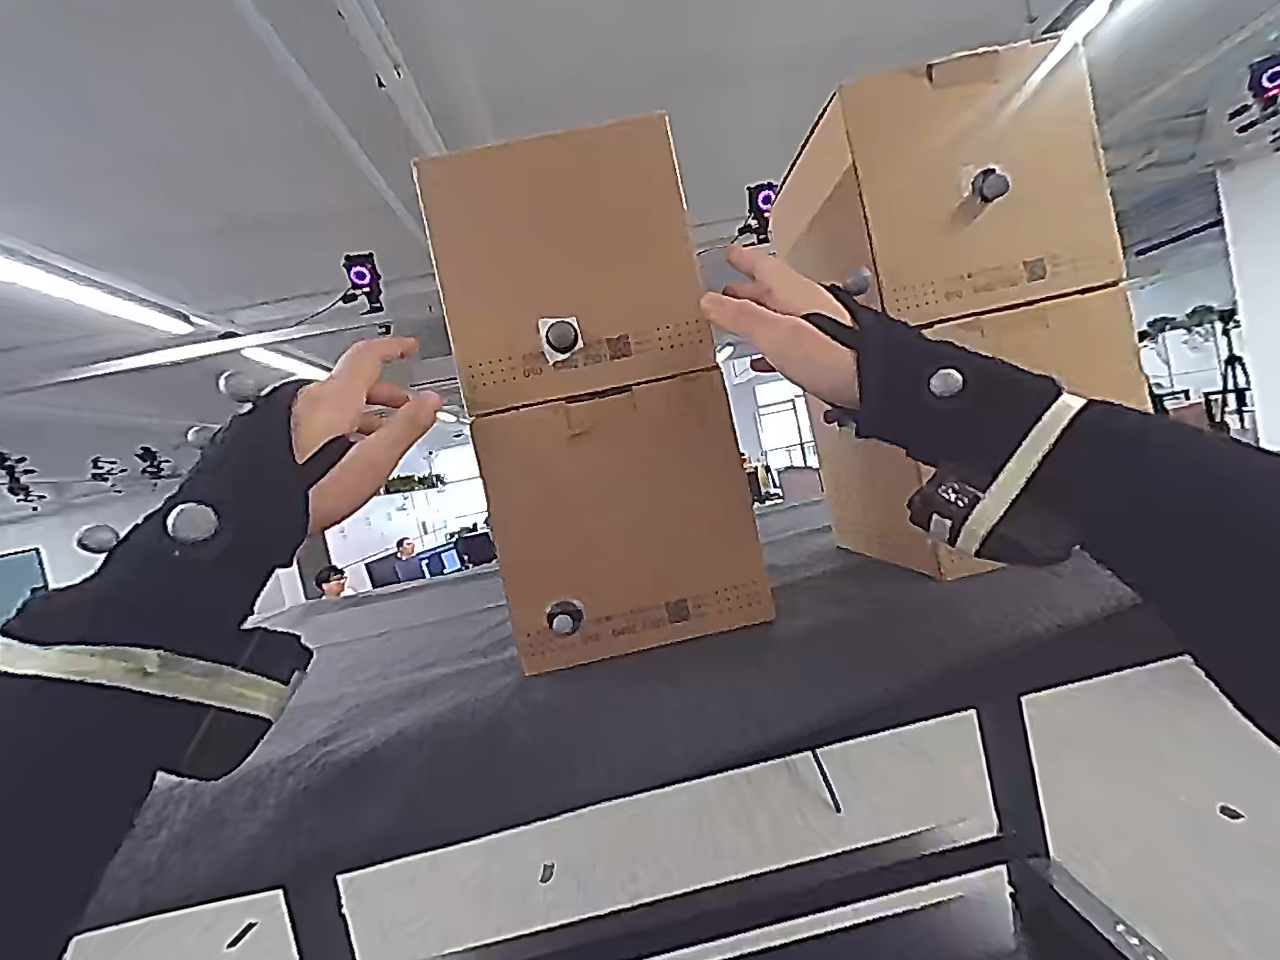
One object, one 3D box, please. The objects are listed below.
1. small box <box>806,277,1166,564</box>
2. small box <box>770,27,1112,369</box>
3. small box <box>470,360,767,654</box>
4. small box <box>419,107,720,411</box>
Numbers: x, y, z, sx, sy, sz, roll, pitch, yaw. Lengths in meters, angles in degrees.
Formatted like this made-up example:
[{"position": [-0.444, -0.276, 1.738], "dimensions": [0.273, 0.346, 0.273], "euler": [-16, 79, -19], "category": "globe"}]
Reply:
[{"position": [0.255, -0.037, 0.437], "dimensions": [0.168, 0.176, 0.179], "euler": [-13, 1, -2], "category": "small box"}, {"position": [0.222, -0.197, 0.434], "dimensions": [0.168, 0.176, 0.179], "euler": [-12, 2, -1], "category": "small box"}, {"position": [-0.013, 0.022, 0.421], "dimensions": [0.168, 0.176, 0.179], "euler": [-12, 0, -3], "category": "small box"}, {"position": [-0.046, -0.137, 0.421], "dimensions": [0.168, 0.176, 0.179], "euler": [-13, 1, -2], "category": "small box"}]
